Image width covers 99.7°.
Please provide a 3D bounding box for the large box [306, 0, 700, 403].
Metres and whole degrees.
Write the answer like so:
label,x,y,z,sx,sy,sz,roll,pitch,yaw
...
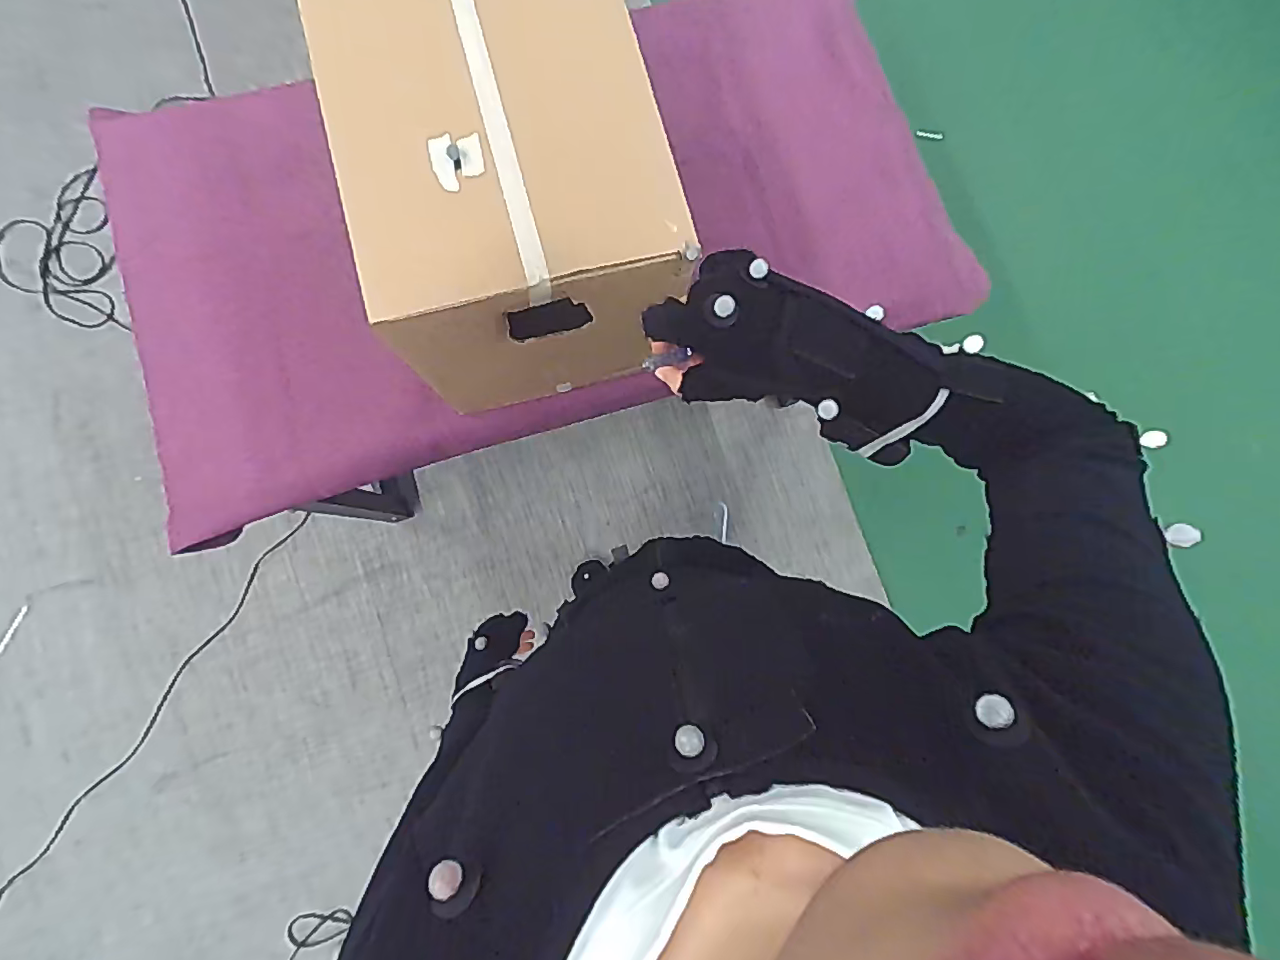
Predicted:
label,x,y,z,sx,sy,sz,roll,pitch,yaw
large box,-0.153,-0.356,0.679,0.320,0.320,0.408,-15,84,-5
